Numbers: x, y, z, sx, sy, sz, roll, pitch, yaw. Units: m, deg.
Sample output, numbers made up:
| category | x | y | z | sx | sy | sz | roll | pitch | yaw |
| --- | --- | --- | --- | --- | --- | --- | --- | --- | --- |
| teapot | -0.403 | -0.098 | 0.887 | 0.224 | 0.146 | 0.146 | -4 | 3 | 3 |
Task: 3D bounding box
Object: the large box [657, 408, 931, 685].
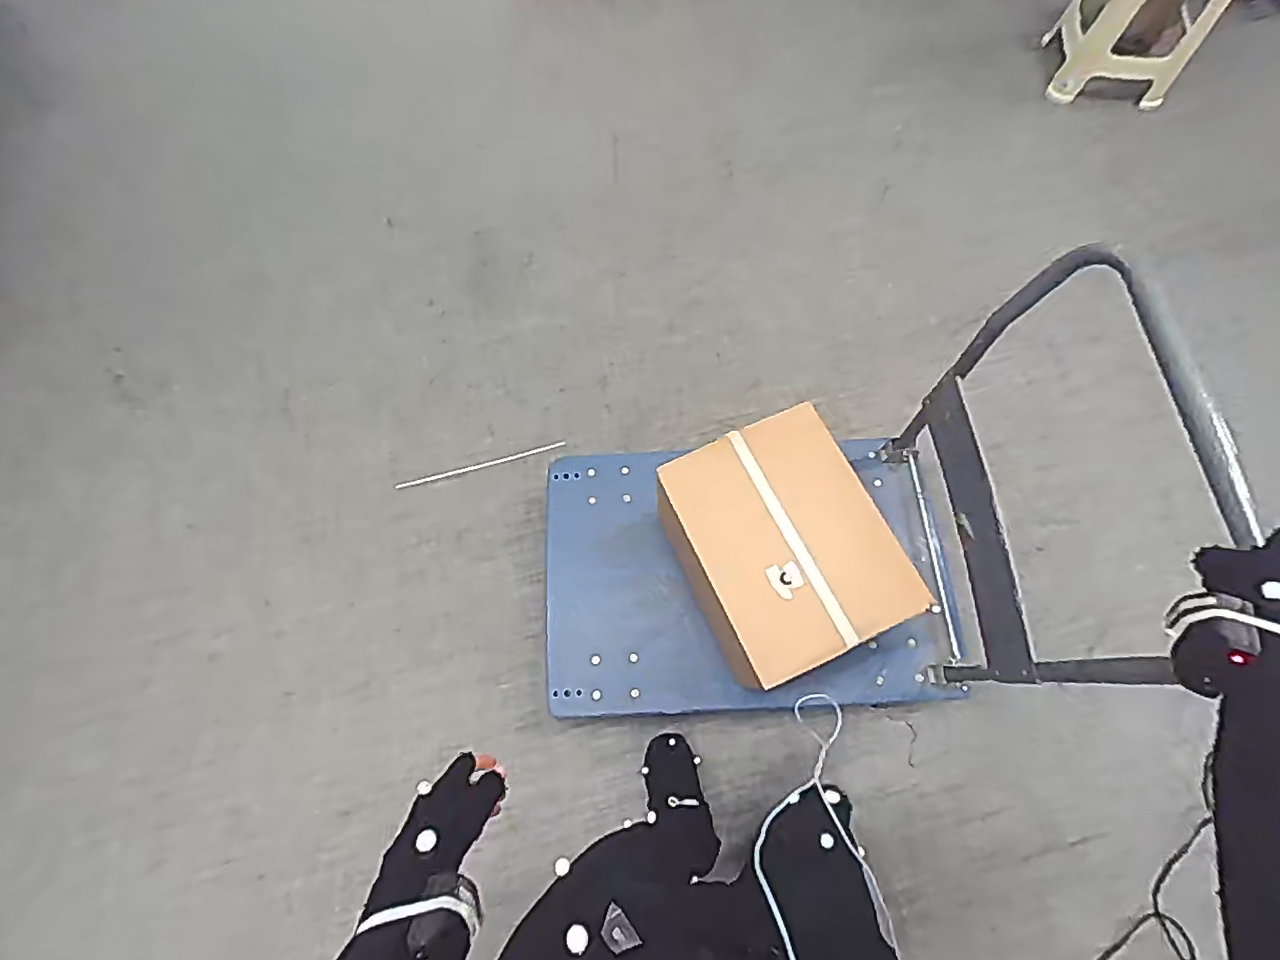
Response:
| category | x | y | z | sx | sy | sz | roll | pitch | yaw |
| --- | --- | --- | --- | --- | --- | --- | --- | --- | --- |
| large box | 0.255 | 0.141 | 1.060 | 0.320 | 0.320 | 0.408 | -25 | 71 | -6 |
